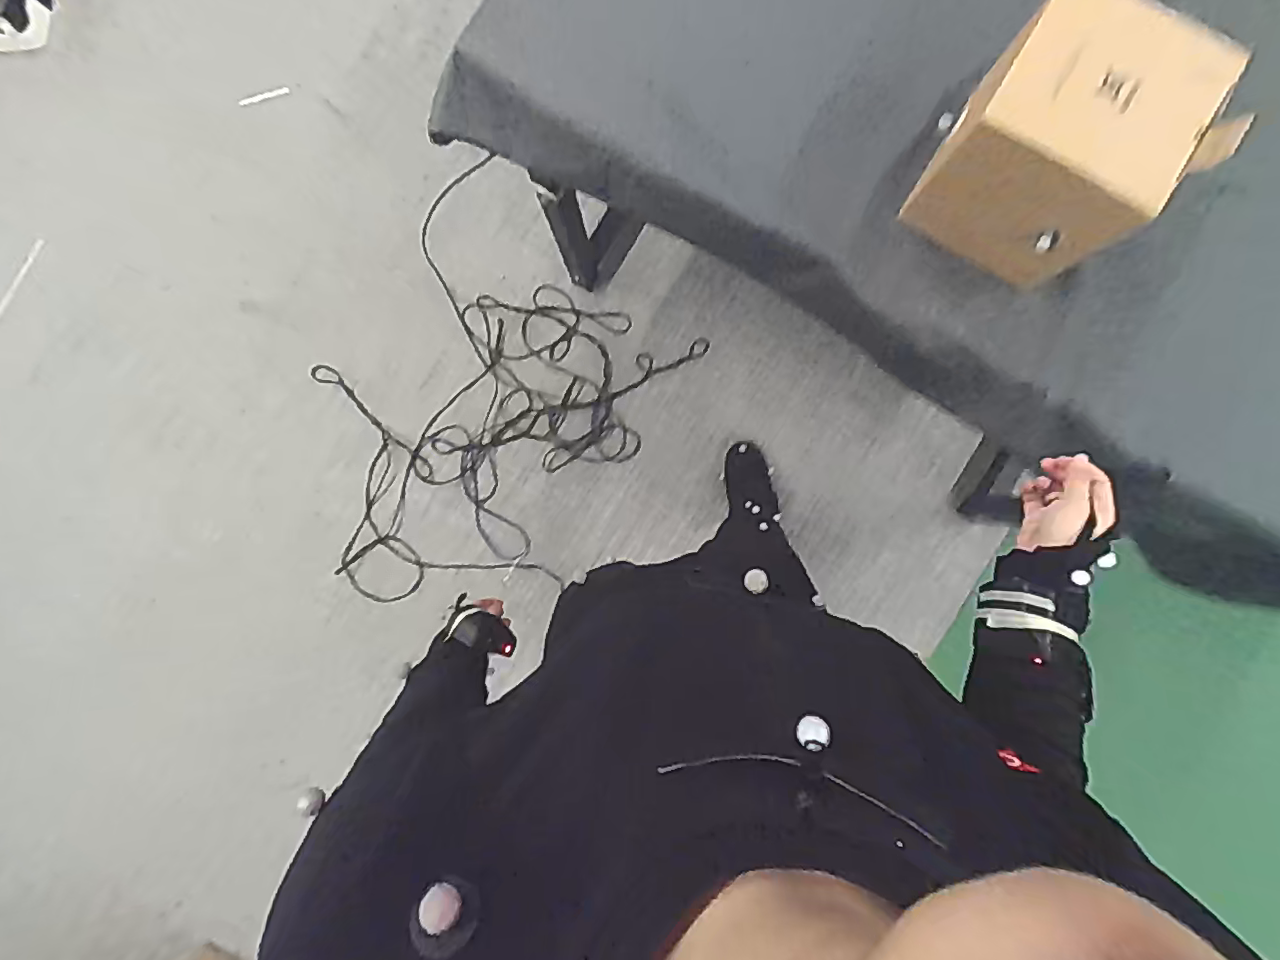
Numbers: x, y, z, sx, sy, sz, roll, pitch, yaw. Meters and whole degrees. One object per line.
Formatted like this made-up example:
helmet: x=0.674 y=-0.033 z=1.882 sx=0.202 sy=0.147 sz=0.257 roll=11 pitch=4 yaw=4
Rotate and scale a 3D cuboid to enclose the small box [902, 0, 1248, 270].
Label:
small box: x=0.410 y=-0.342 z=0.546 sx=0.179 sy=0.176 sz=0.168 roll=30 pitch=88 yaw=4
